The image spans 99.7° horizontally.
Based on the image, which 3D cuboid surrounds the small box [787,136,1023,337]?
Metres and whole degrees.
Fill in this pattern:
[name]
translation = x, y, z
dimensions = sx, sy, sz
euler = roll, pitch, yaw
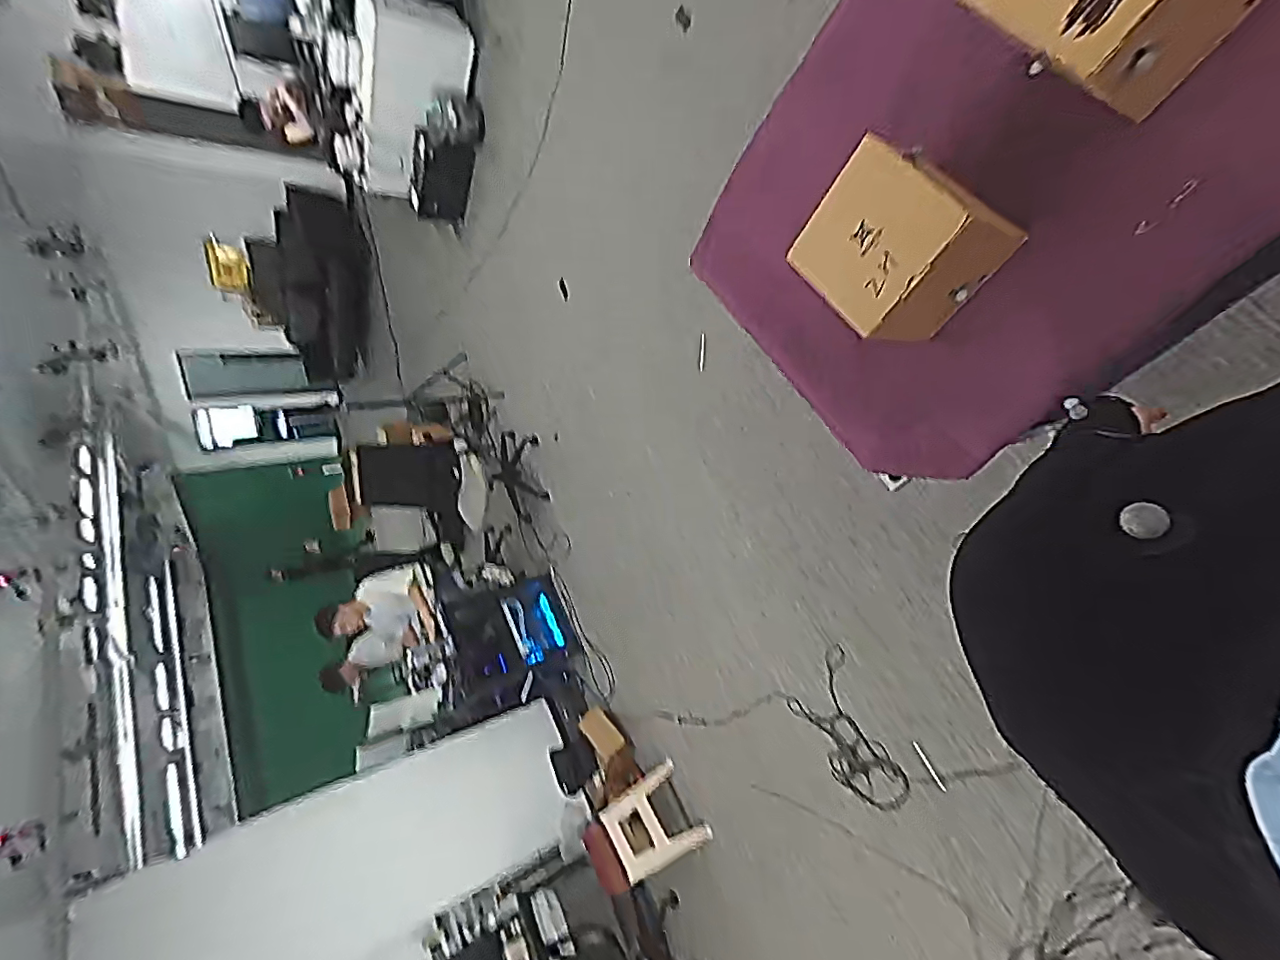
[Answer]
[small box]
translation = 0.335, -0.298, 0.696
dimensions = 0.179, 0.176, 0.168
euler = 59, 139, 26
